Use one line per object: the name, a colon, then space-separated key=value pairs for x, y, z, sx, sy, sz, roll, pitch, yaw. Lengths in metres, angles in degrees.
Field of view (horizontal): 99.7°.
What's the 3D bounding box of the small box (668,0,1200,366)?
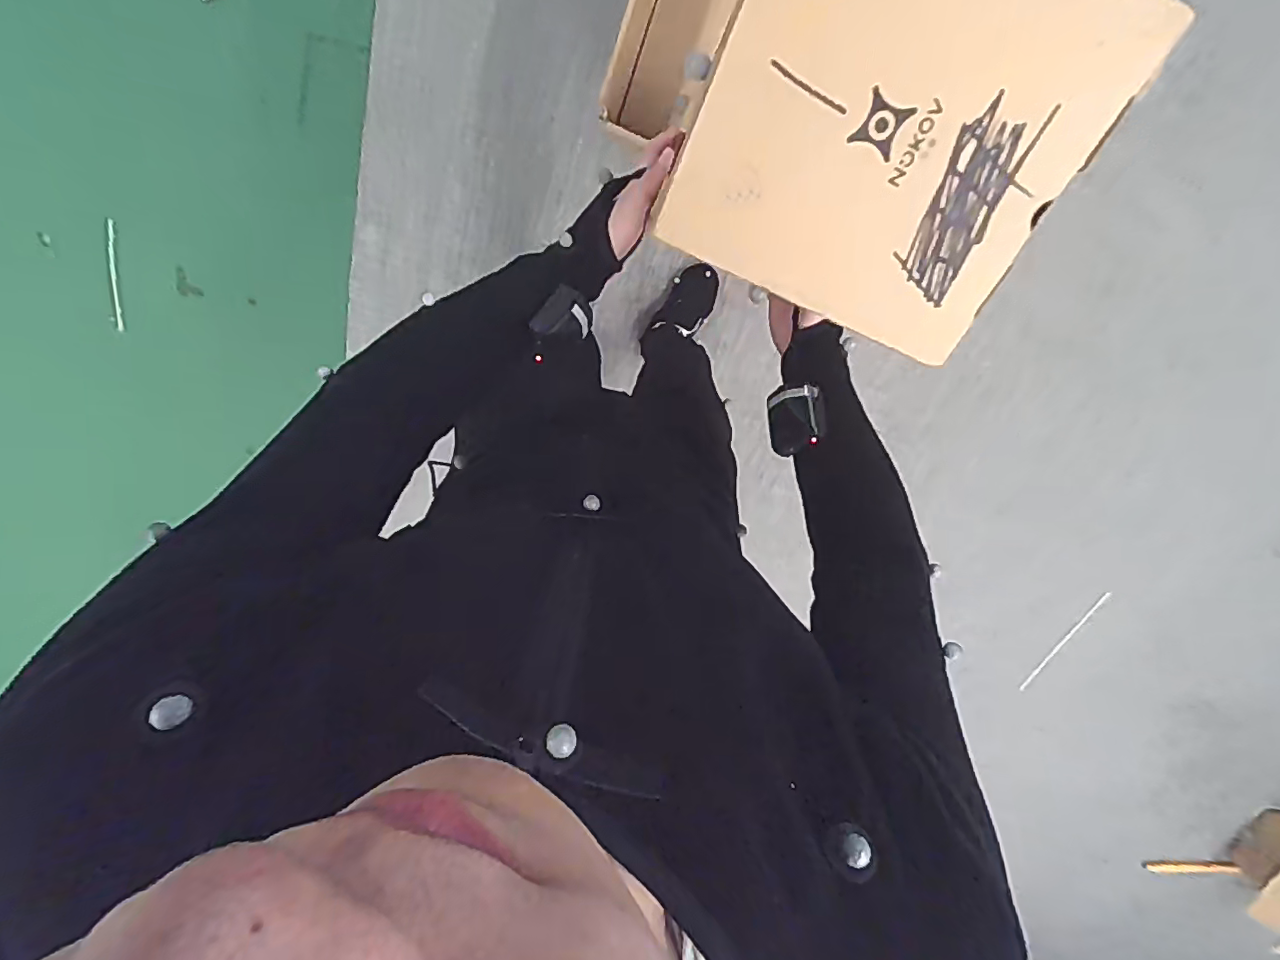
small box: x=0.127 y=-0.196 z=0.316 sx=0.179 sy=0.176 sz=0.168 roll=21 pitch=118 yaw=-9
